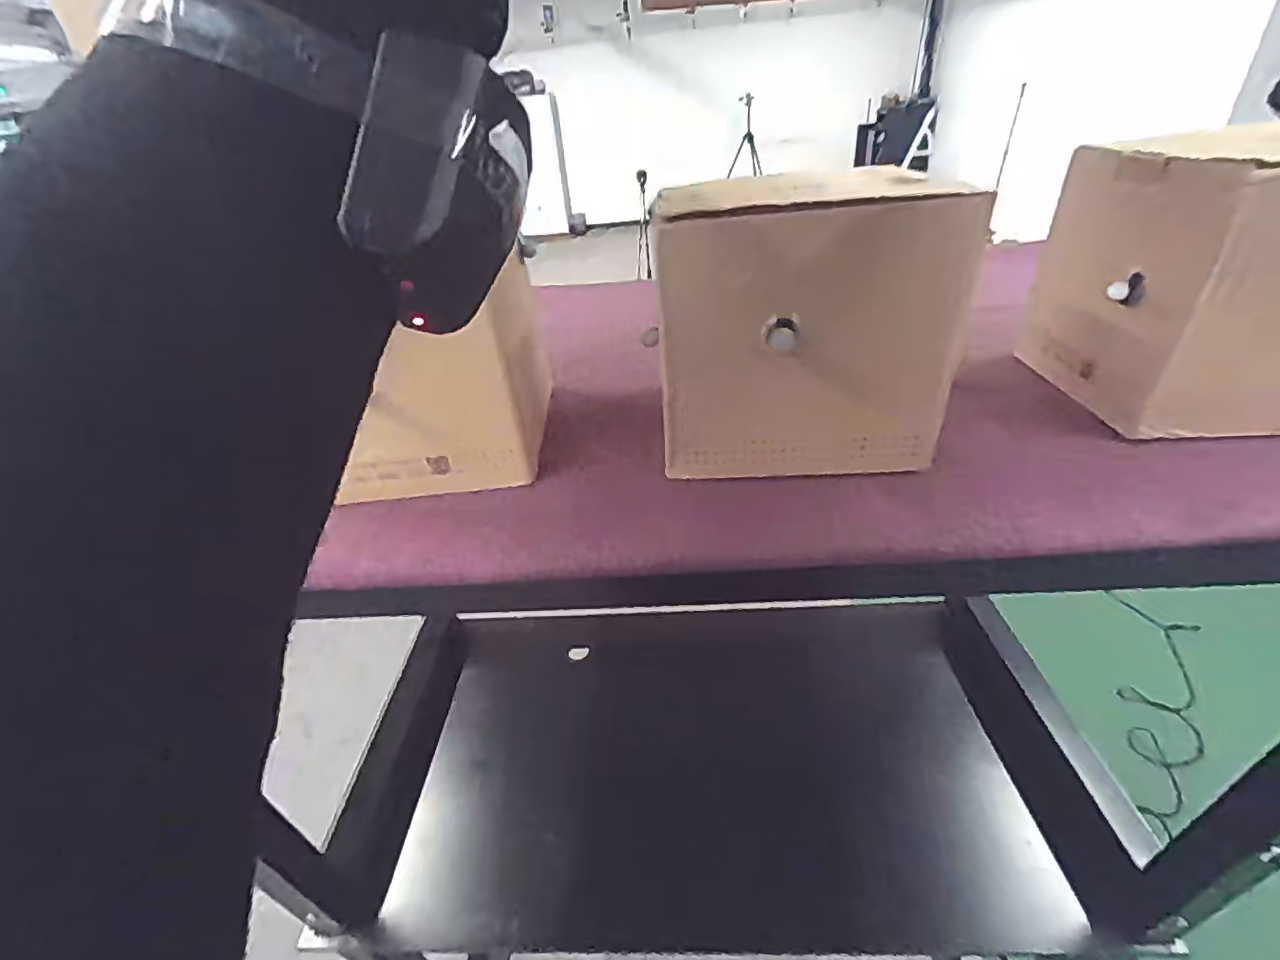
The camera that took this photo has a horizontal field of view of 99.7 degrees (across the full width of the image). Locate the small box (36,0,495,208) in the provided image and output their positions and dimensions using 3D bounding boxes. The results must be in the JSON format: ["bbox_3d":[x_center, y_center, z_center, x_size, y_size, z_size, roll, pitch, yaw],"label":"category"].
[{"bbox_3d":[-0.191,-0.258,0.308,0.168,0.176,0.179,-3,34,0],"label":"small box"}]

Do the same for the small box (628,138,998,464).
[{"bbox_3d":[0.093,-0.121,0.365,0.179,0.176,0.168,-1,36,6],"label":"small box"}]

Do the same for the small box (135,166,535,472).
[{"bbox_3d":[-0.177,-0.116,0.390,0.168,0.176,0.179,-4,34,0],"label":"small box"}]

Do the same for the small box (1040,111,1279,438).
[{"bbox_3d":[0.402,-0.135,0.352,0.179,0.176,0.168,1,35,8],"label":"small box"}]
